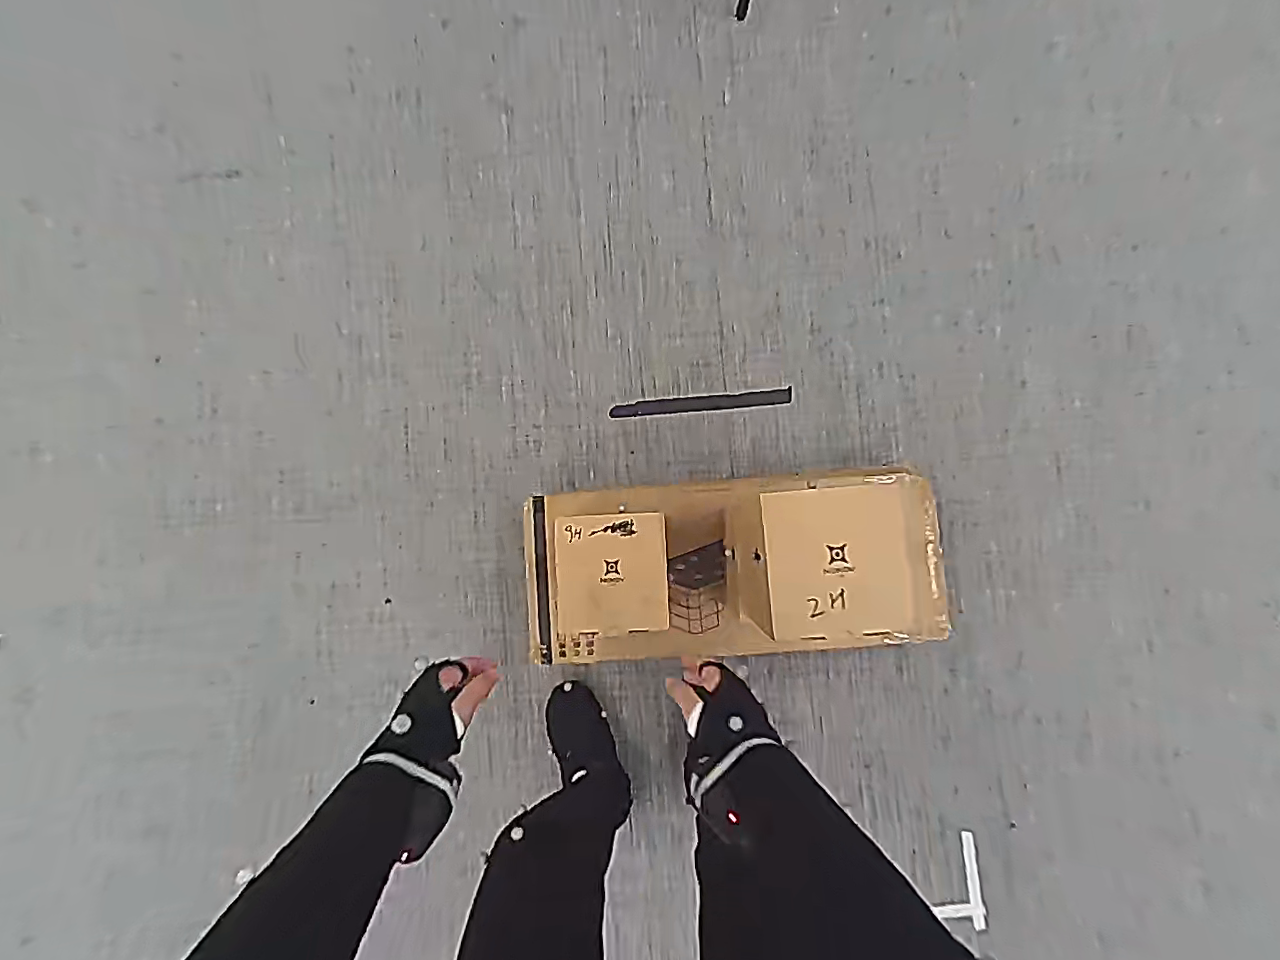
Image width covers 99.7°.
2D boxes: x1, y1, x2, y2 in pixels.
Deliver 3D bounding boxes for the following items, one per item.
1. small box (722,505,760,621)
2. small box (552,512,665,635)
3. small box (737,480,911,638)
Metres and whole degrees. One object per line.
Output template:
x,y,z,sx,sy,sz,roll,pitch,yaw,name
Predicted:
0.225,0.126,0.873,0.168,0.176,0.179,0,87,2,small box
-0.043,0.143,0.875,0.168,0.176,0.179,-3,86,1,small box
0.226,0.099,0.709,0.168,0.176,0.179,-5,86,1,small box
